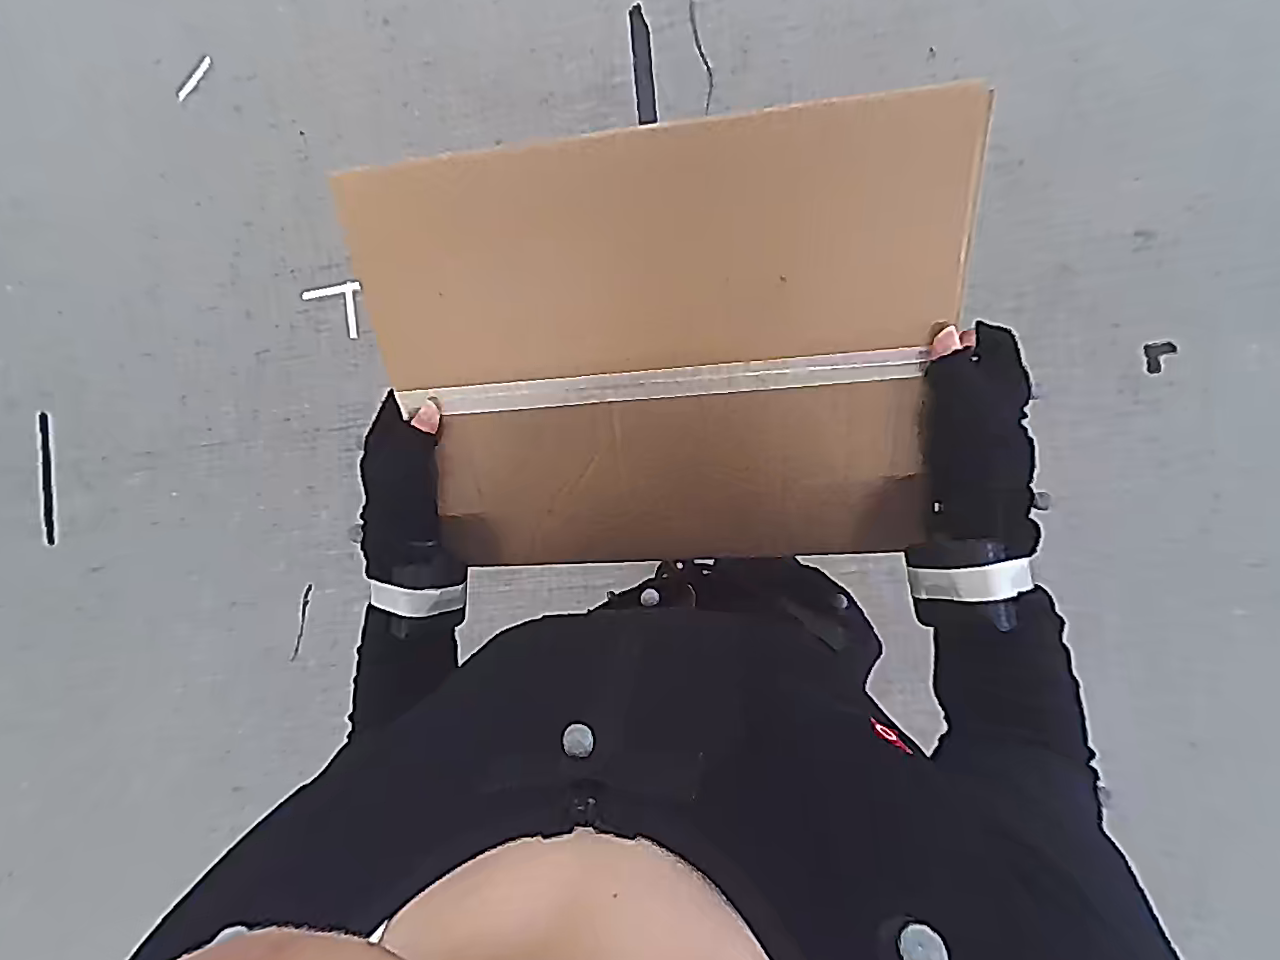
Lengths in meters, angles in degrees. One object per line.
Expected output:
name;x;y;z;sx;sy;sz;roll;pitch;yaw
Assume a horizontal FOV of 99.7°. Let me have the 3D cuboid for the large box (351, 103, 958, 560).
large box;0.027;-0.142;0.542;0.408;0.320;0.320;-3;116;8
